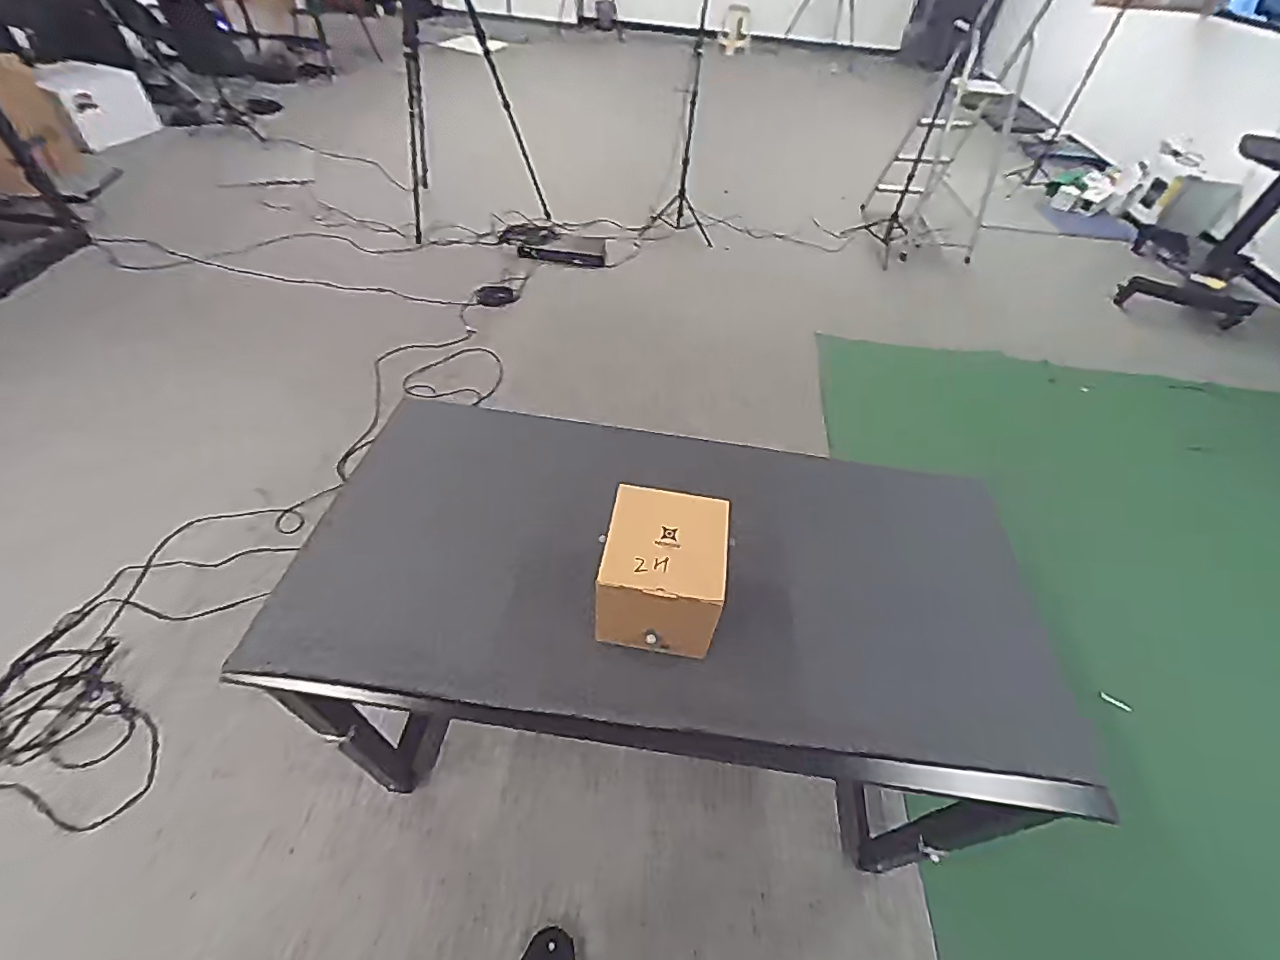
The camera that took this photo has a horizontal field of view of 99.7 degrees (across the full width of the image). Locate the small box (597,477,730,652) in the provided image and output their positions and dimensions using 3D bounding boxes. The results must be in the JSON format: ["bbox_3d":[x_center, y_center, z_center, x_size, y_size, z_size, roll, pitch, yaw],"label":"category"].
[{"bbox_3d":[0.032,0.125,0.794,0.168,0.176,0.179,9,47,3],"label":"small box"}]
